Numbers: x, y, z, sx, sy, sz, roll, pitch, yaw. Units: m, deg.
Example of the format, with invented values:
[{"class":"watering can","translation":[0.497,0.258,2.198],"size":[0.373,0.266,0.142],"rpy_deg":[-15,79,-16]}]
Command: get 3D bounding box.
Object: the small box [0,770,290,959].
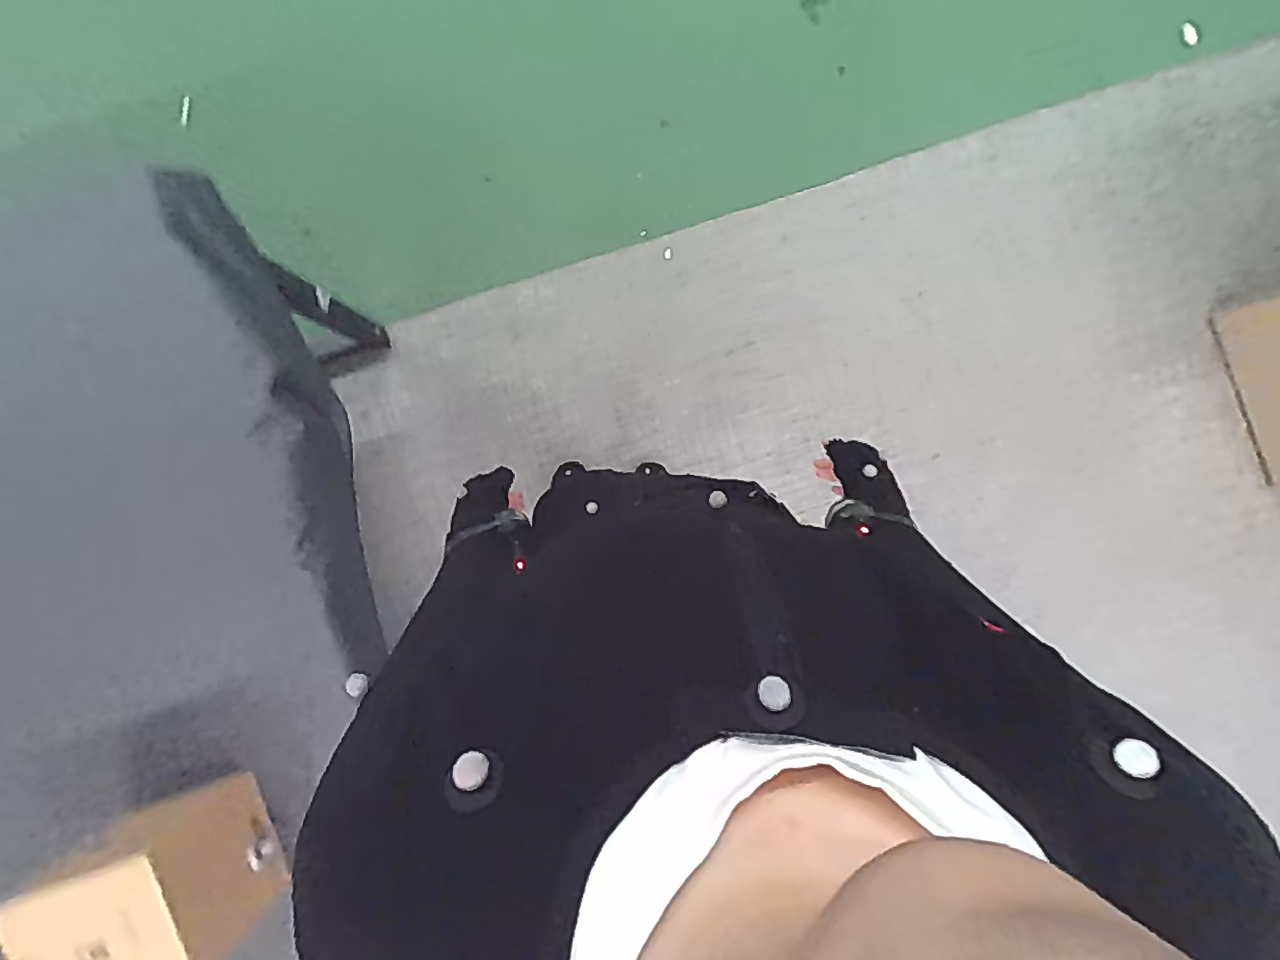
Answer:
[{"class":"small box","translation":[-0.575,0.492,0.650],"size":[0.179,0.176,0.168],"rpy_deg":[-20,92,-2]}]
